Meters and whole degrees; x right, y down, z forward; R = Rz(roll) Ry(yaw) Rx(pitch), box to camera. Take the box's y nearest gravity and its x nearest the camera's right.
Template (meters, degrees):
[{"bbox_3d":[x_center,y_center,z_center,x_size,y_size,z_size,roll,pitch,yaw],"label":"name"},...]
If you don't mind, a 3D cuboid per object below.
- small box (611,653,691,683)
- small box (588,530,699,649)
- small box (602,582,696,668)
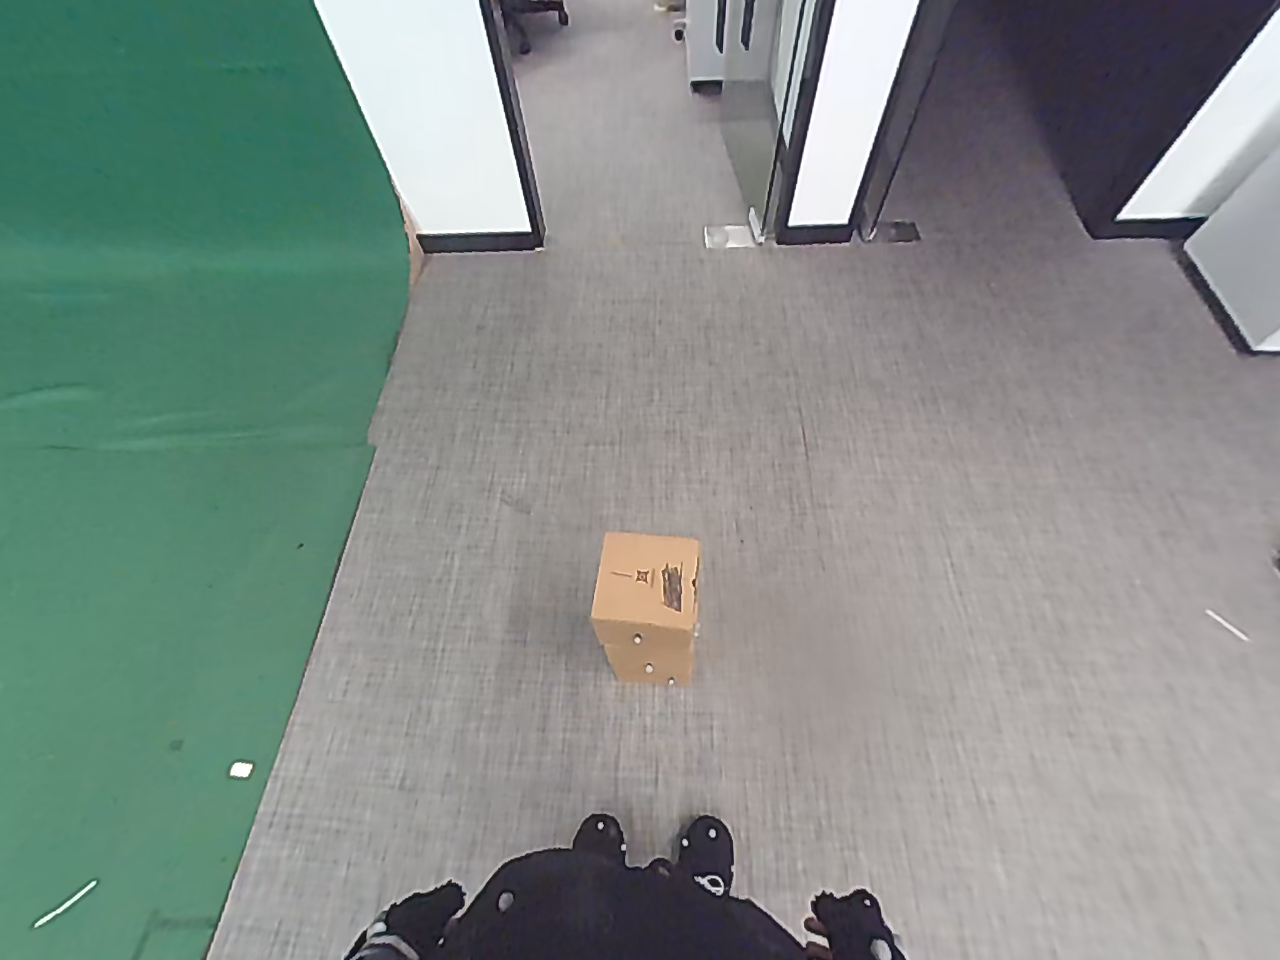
[{"bbox_3d":[0.032,0.384,1.295,0.179,0.176,0.168,2,59,5],"label":"small box"},{"bbox_3d":[0.014,0.211,1.016,0.179,0.176,0.168,5,59,8],"label":"small box"},{"bbox_3d":[0.023,0.297,1.156,0.179,0.176,0.168,5,59,4],"label":"small box"}]
